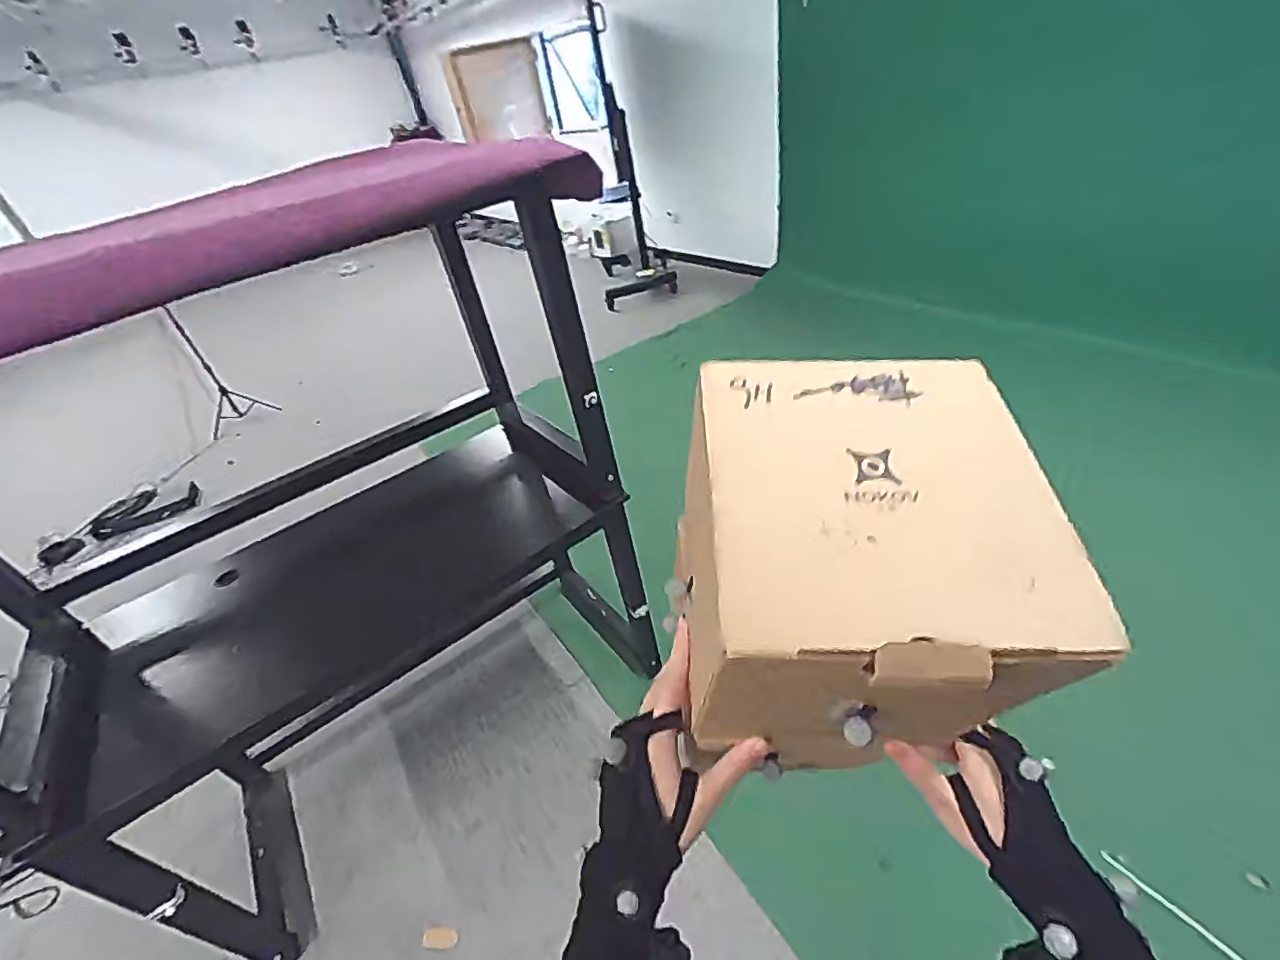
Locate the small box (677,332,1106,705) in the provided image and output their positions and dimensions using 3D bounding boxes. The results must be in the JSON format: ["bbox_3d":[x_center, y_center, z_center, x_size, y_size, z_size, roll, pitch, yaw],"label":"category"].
[{"bbox_3d":[0.111,0.032,0.332,0.168,0.176,0.179,1,55,1],"label":"small box"}]

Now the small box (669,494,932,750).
[{"bbox_3d":[0.112,0.126,0.465,0.168,0.176,0.179,-2,54,0],"label":"small box"}]
